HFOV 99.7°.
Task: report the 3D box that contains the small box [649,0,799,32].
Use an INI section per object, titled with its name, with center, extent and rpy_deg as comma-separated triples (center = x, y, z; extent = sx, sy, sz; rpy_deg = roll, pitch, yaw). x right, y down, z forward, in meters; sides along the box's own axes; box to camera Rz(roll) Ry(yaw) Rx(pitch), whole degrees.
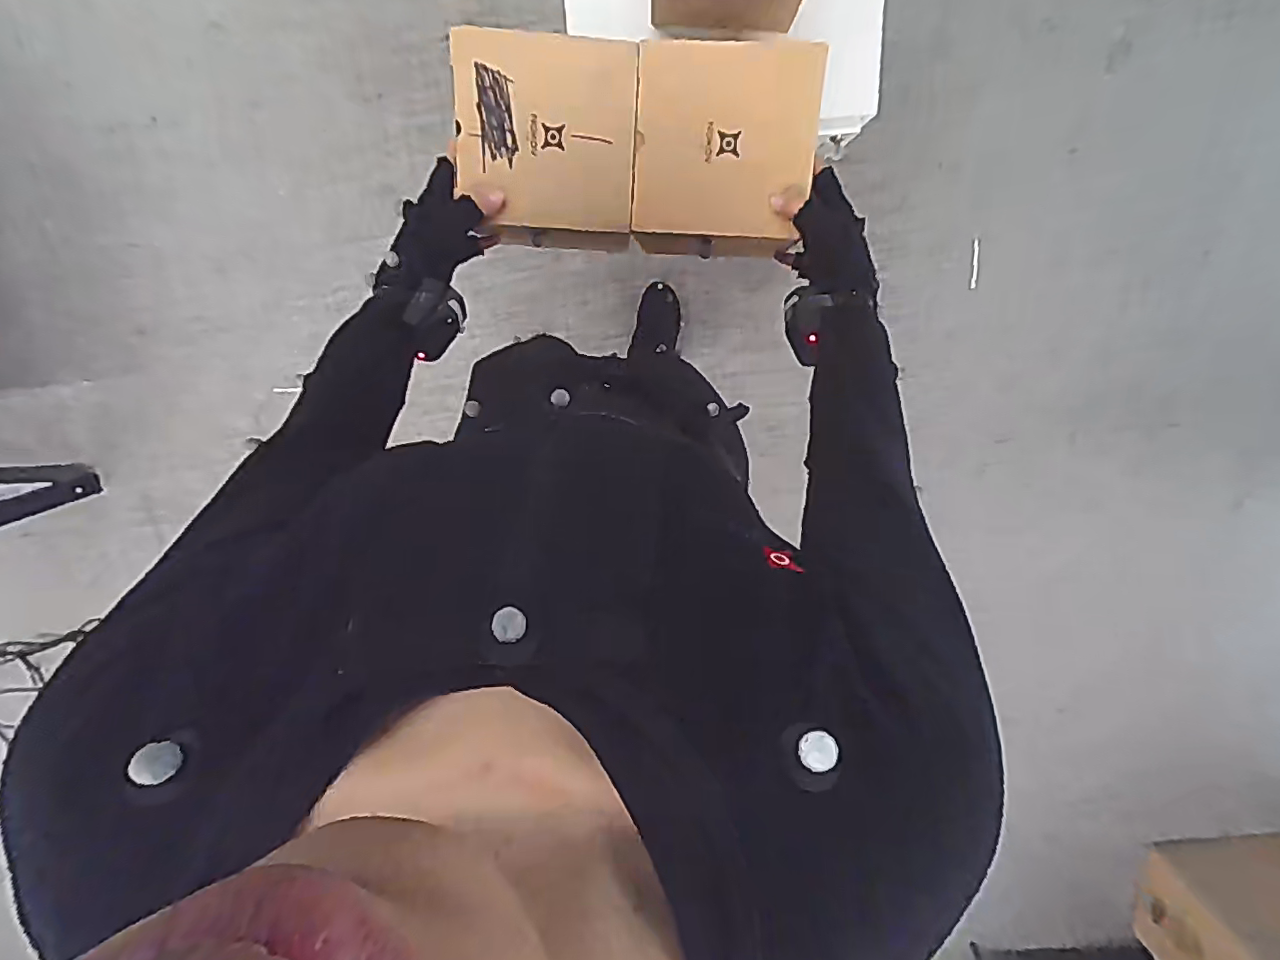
[small box]
center = 0.103, -0.615, 0.575
extent = 0.179, 0.176, 0.168
rpy_deg = 4, 107, 1
